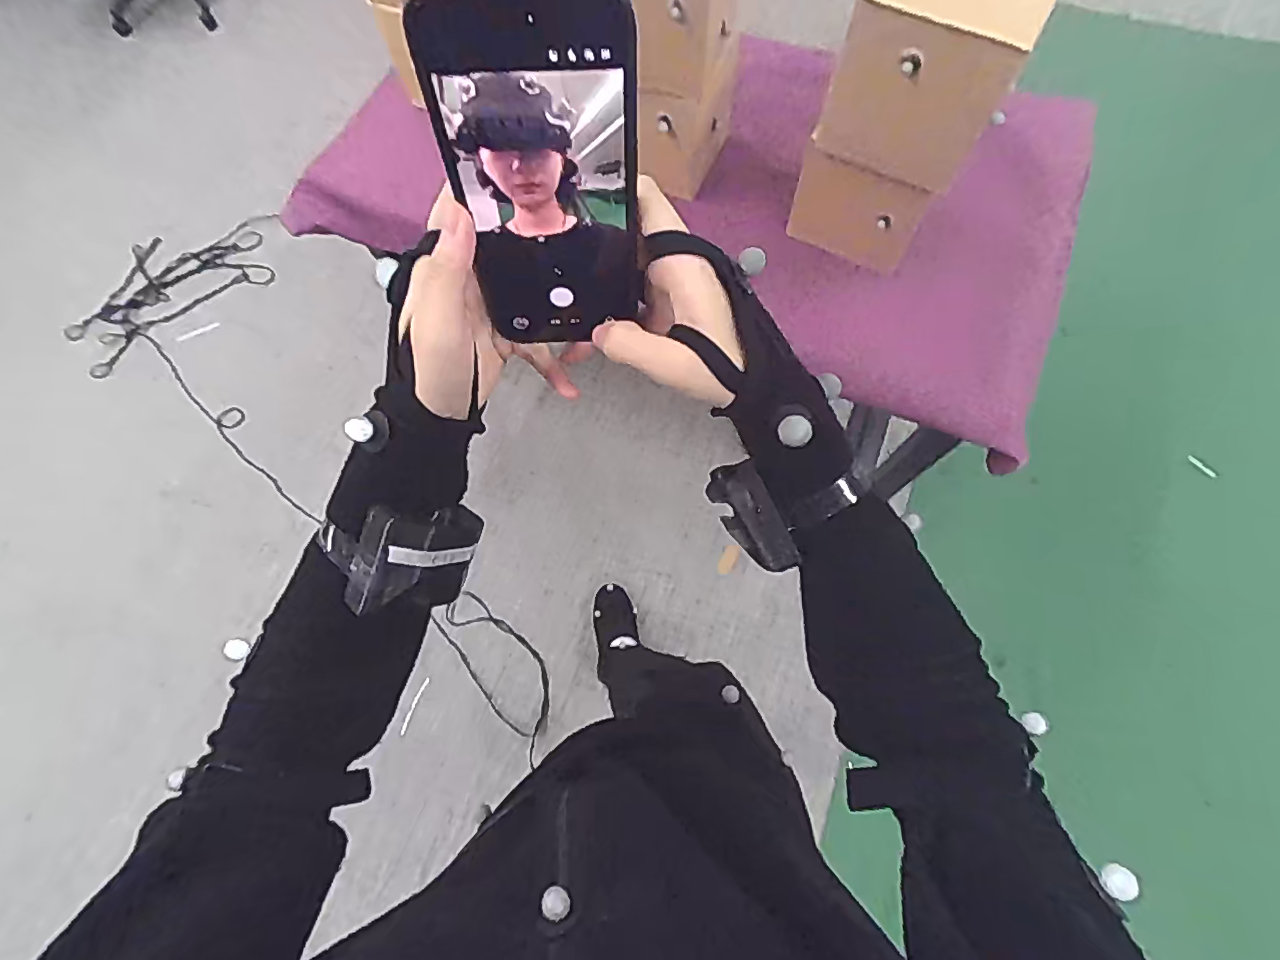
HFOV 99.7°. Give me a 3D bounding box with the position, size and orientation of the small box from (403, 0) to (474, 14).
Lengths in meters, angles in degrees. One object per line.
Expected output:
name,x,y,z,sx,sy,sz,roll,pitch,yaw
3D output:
small box,-0.311,-0.817,0.768,0.168,0.176,0.179,19,74,8

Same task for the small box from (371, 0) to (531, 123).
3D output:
small box,-0.306,-0.756,0.921,0.168,0.176,0.179,24,74,11

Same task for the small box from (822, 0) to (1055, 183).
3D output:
small box,0.334,-0.482,0.618,0.179,0.176,0.168,29,75,12

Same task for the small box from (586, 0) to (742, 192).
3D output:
small box,0.039,-0.588,0.843,0.179,0.176,0.168,23,74,10

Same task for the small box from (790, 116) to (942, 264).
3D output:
small box,0.341,-0.445,0.779,0.179,0.176,0.168,29,75,13
